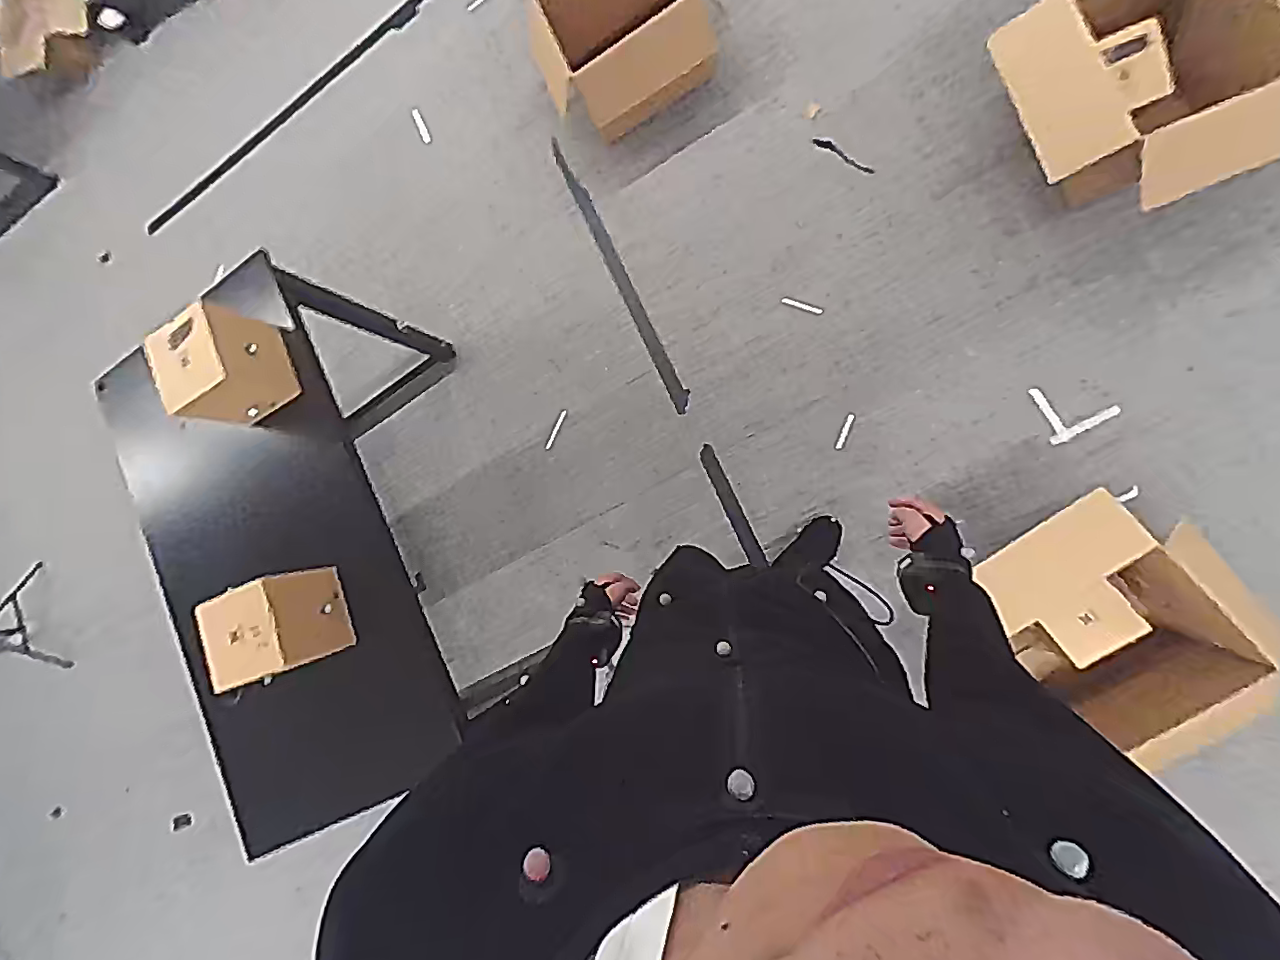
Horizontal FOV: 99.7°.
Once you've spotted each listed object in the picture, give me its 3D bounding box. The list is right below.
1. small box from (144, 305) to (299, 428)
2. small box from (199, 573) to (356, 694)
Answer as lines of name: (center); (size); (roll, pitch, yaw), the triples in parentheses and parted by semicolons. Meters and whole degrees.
small box: (-0.858, -0.224, 1.121); (0.168, 0.176, 0.179); (-26, 83, 14)
small box: (-0.702, 0.293, 1.061); (0.179, 0.176, 0.168); (-23, 83, 14)
